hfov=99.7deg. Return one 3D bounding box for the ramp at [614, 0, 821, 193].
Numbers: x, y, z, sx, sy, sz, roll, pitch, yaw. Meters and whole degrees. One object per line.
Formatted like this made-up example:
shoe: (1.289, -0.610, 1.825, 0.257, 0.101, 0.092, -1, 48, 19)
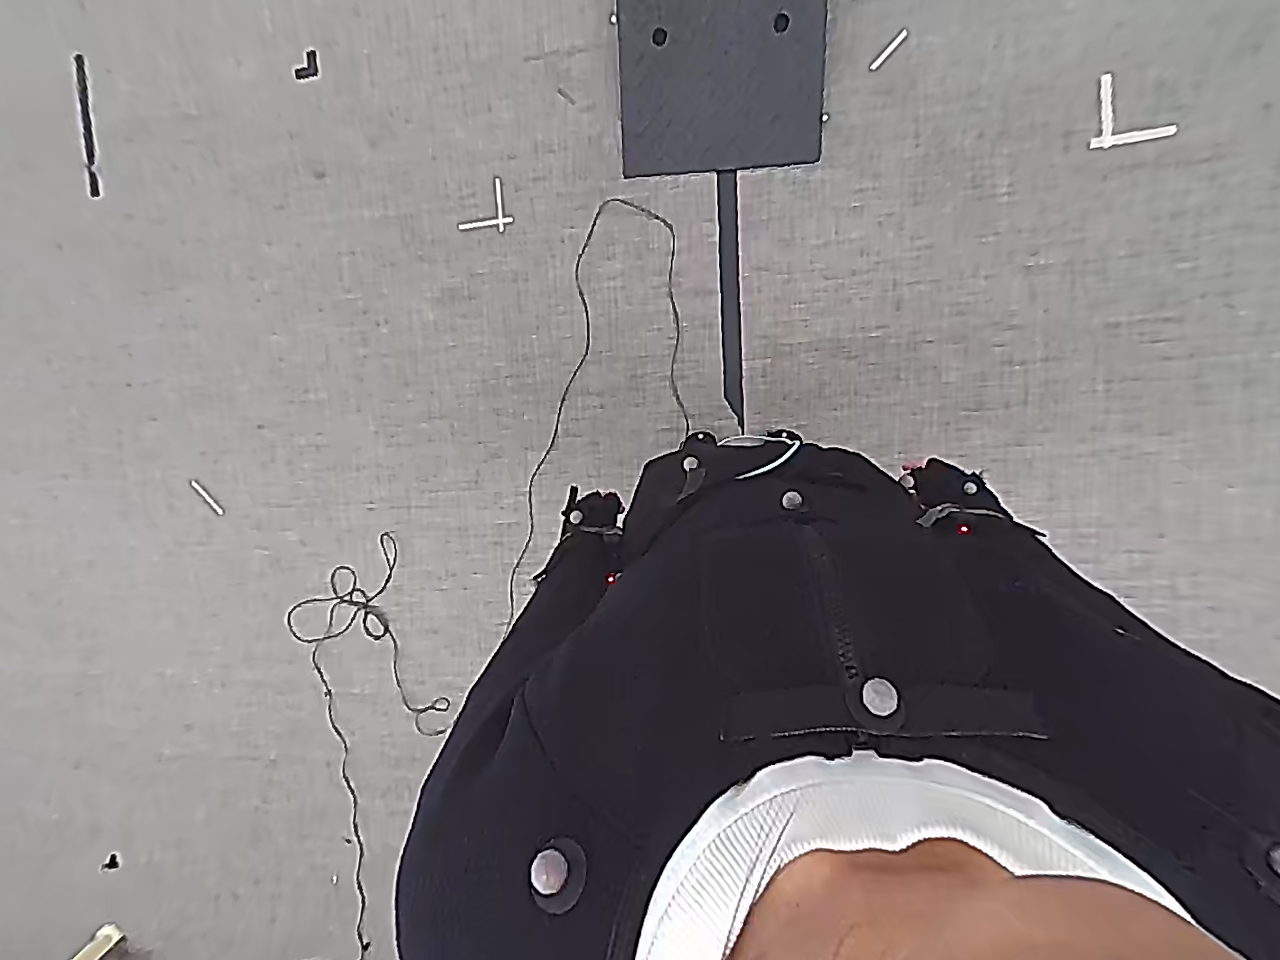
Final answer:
ramp: (0.175, -1.243, 1.266, 0.509, 0.206, 0.991, -3, 94, 8)
